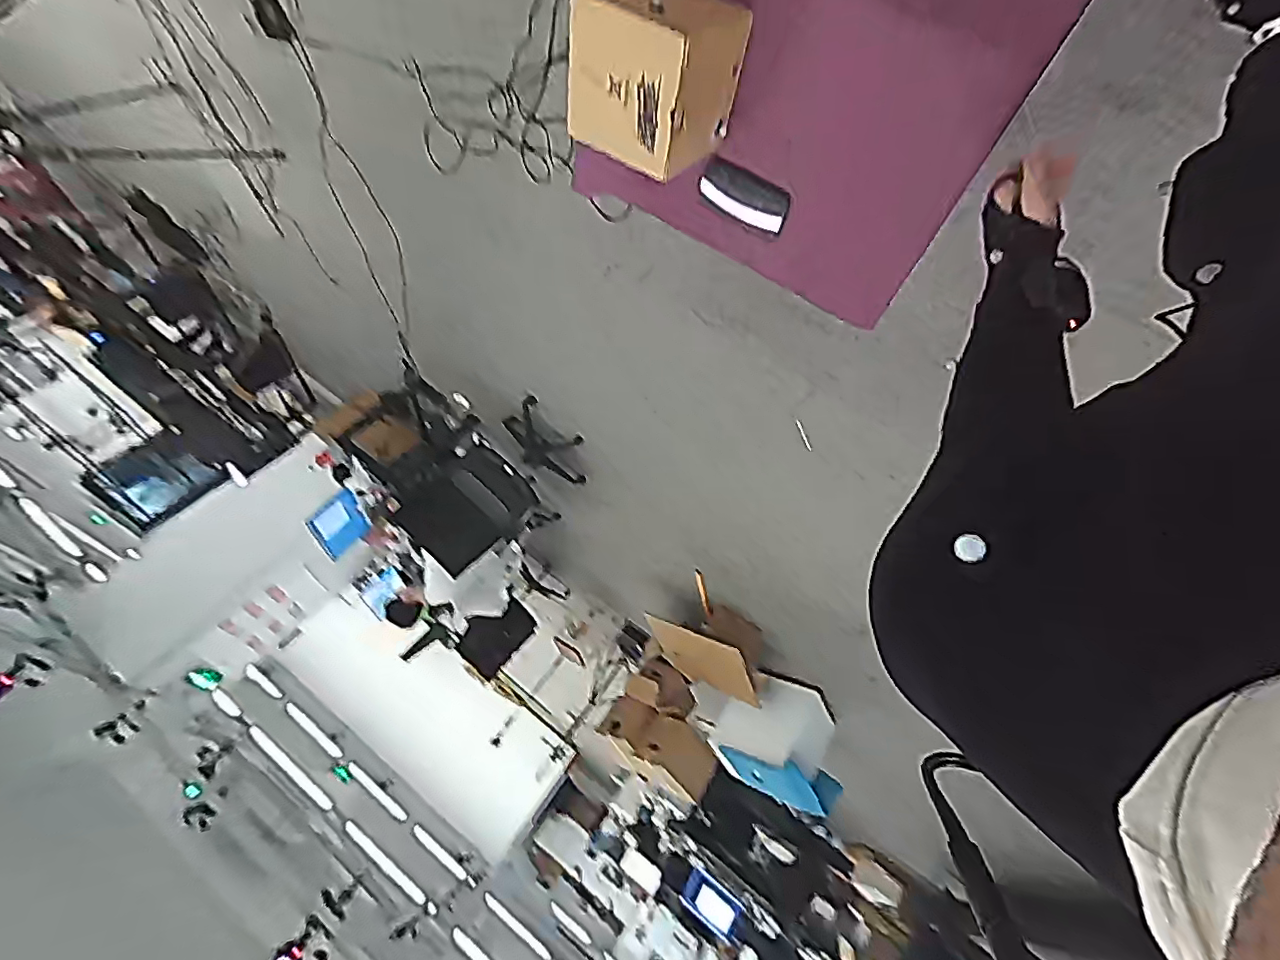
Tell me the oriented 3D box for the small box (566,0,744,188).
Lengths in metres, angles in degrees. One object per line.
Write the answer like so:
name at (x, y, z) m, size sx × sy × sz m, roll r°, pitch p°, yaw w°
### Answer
small box at (0.018, -0.548, 0.752) m, size 0.179 × 0.176 × 0.168 m, roll 34°, pitch 147°, yaw 14°
